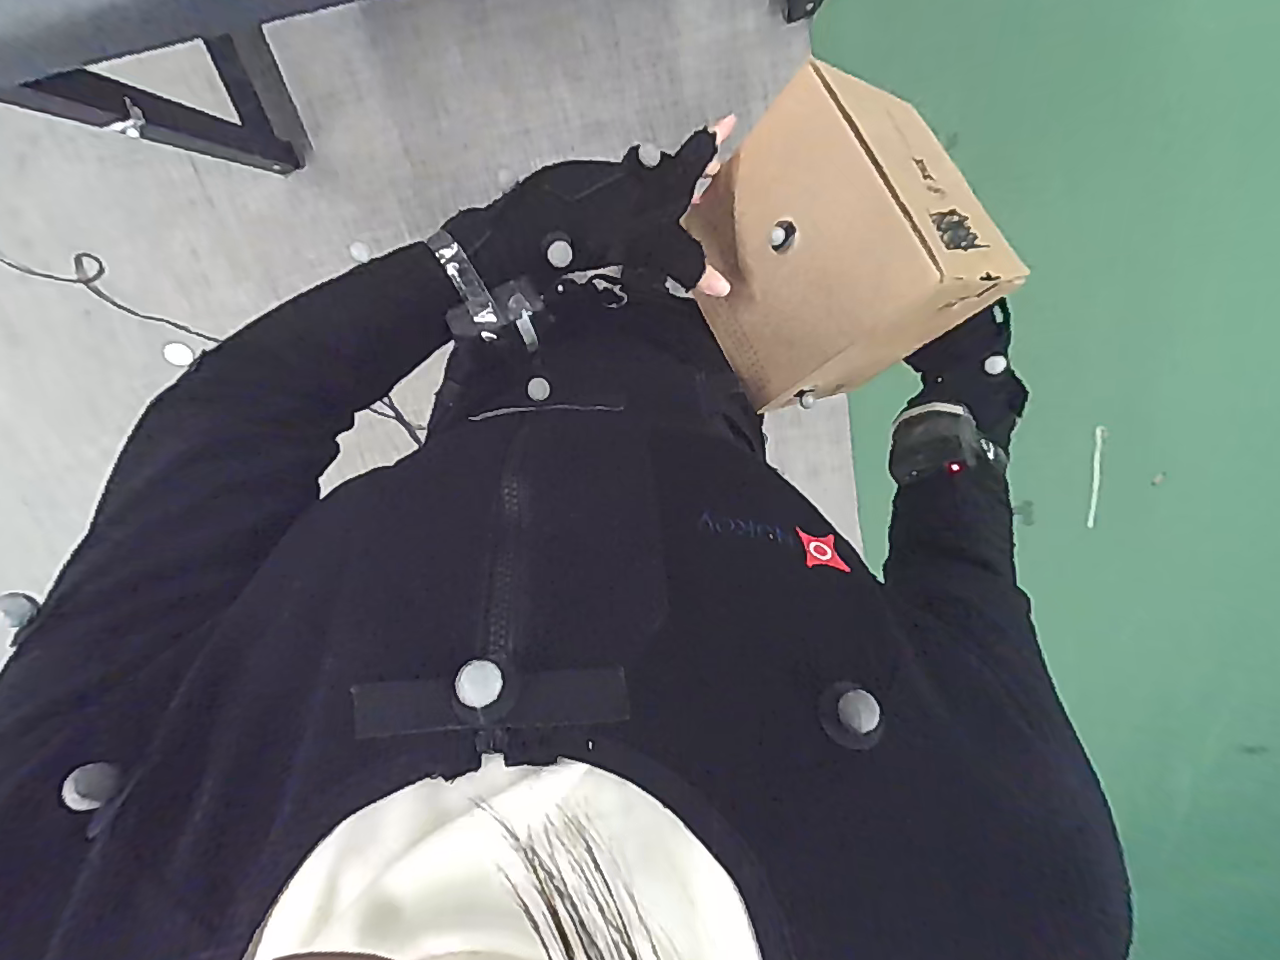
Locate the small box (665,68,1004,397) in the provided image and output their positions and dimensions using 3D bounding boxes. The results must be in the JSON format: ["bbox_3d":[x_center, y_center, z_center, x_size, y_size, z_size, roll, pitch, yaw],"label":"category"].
[{"bbox_3d":[0.154,-0.183,0.456,0.176,0.168,0.179,-36,75,48],"label":"small box"}]
